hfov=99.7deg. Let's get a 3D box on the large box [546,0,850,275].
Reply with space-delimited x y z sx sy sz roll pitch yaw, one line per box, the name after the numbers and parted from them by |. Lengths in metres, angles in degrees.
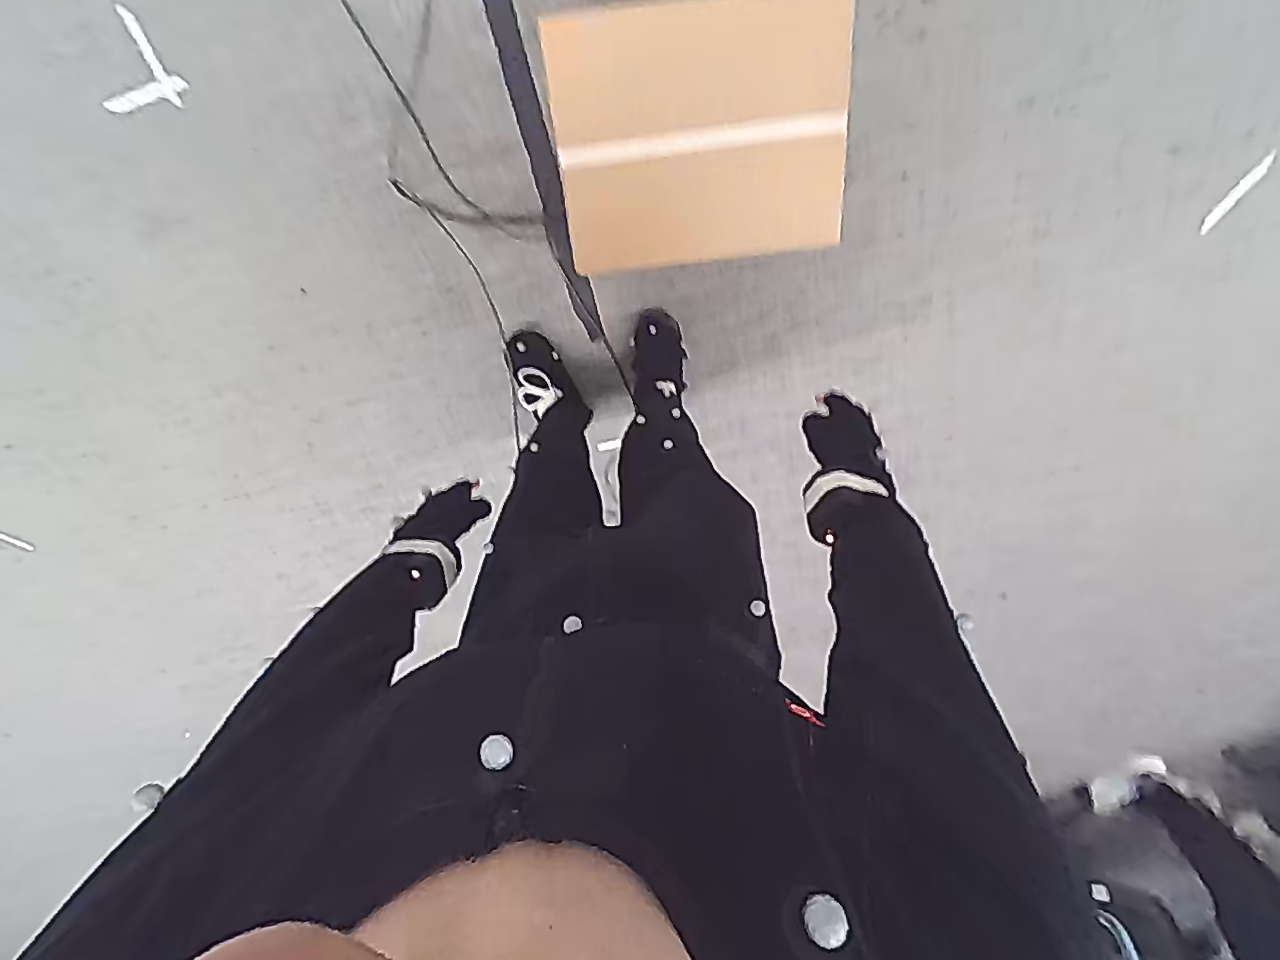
0.085 -0.547 0.898 0.408 0.320 0.320 -7 119 1 | large box
